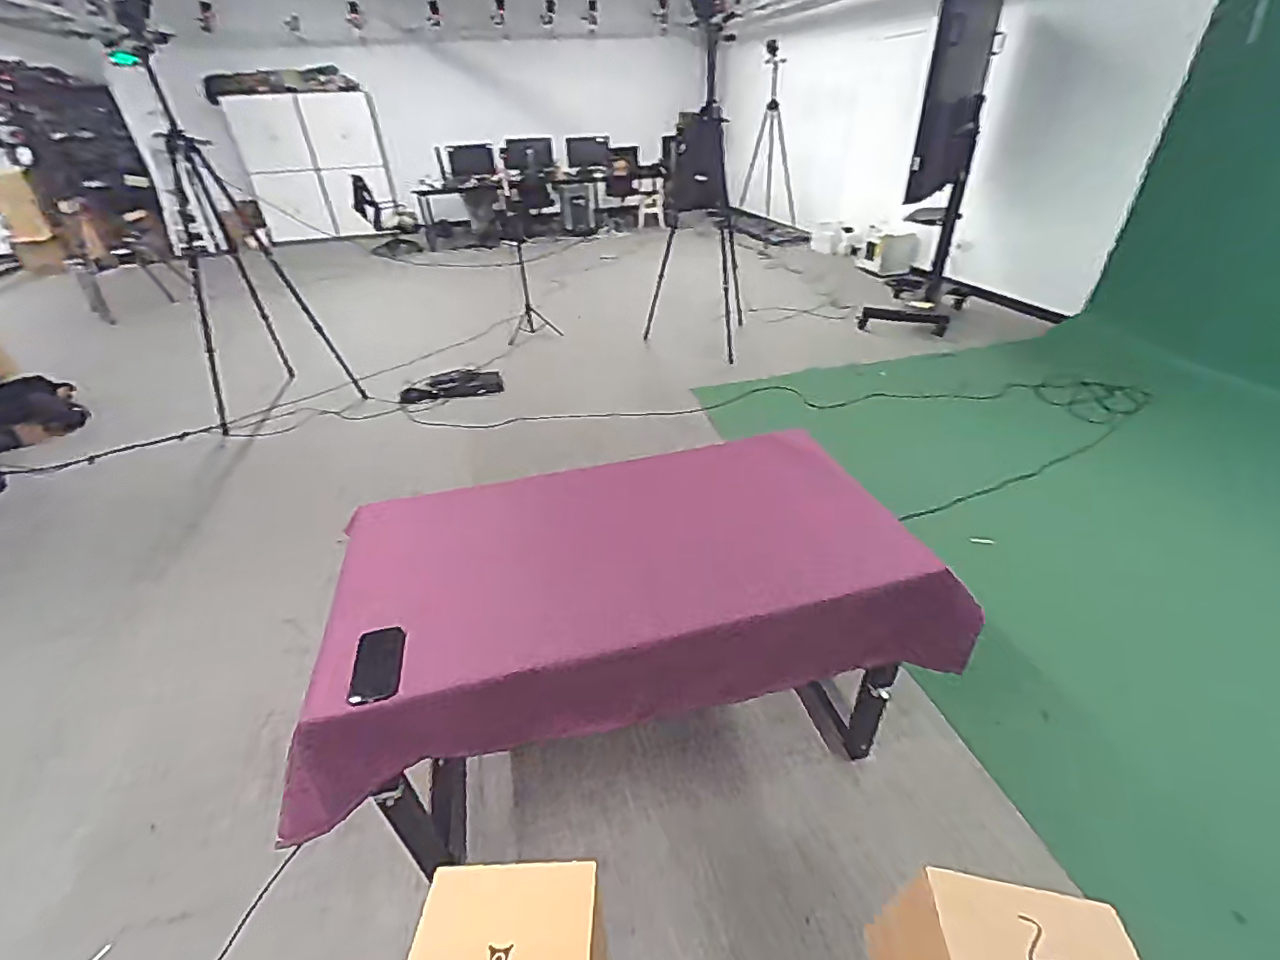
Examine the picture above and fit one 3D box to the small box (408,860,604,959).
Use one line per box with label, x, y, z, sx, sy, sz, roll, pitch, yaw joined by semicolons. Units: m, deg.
small box;-0.121;0.497;0.502;0.168;0.176;0.179;-3;23;0
